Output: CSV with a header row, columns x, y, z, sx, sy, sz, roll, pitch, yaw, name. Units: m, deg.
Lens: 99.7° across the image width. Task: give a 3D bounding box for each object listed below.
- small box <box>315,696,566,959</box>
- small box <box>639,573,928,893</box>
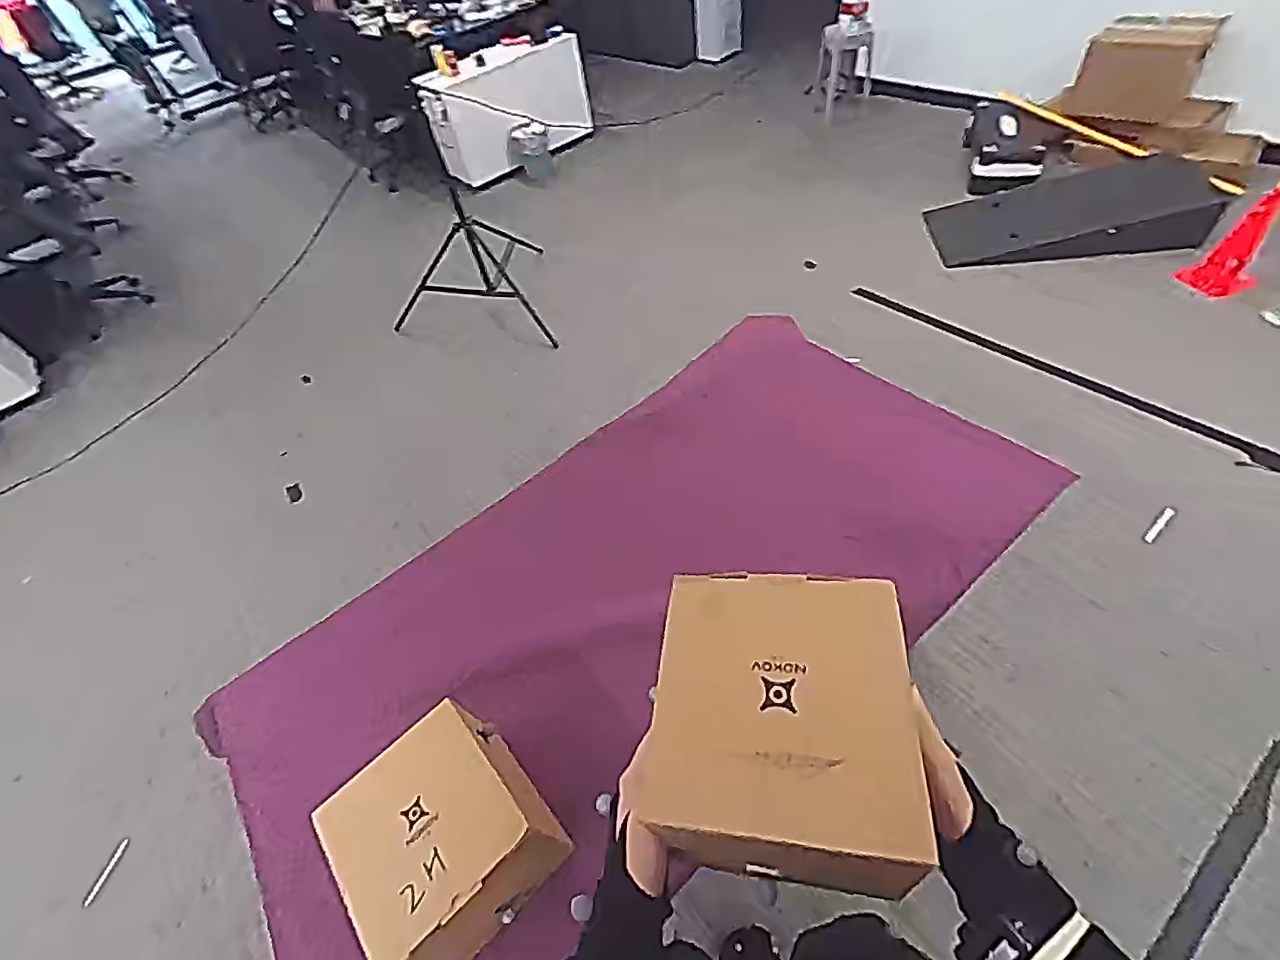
x,y,z,sx,sy,sz,roll,pitch,yaw,name
-0.209,0.383,0.599,0.168,0.176,0.179,-40,55,-20,small box
0.108,0.193,0.422,0.168,0.176,0.179,-2,48,16,small box
